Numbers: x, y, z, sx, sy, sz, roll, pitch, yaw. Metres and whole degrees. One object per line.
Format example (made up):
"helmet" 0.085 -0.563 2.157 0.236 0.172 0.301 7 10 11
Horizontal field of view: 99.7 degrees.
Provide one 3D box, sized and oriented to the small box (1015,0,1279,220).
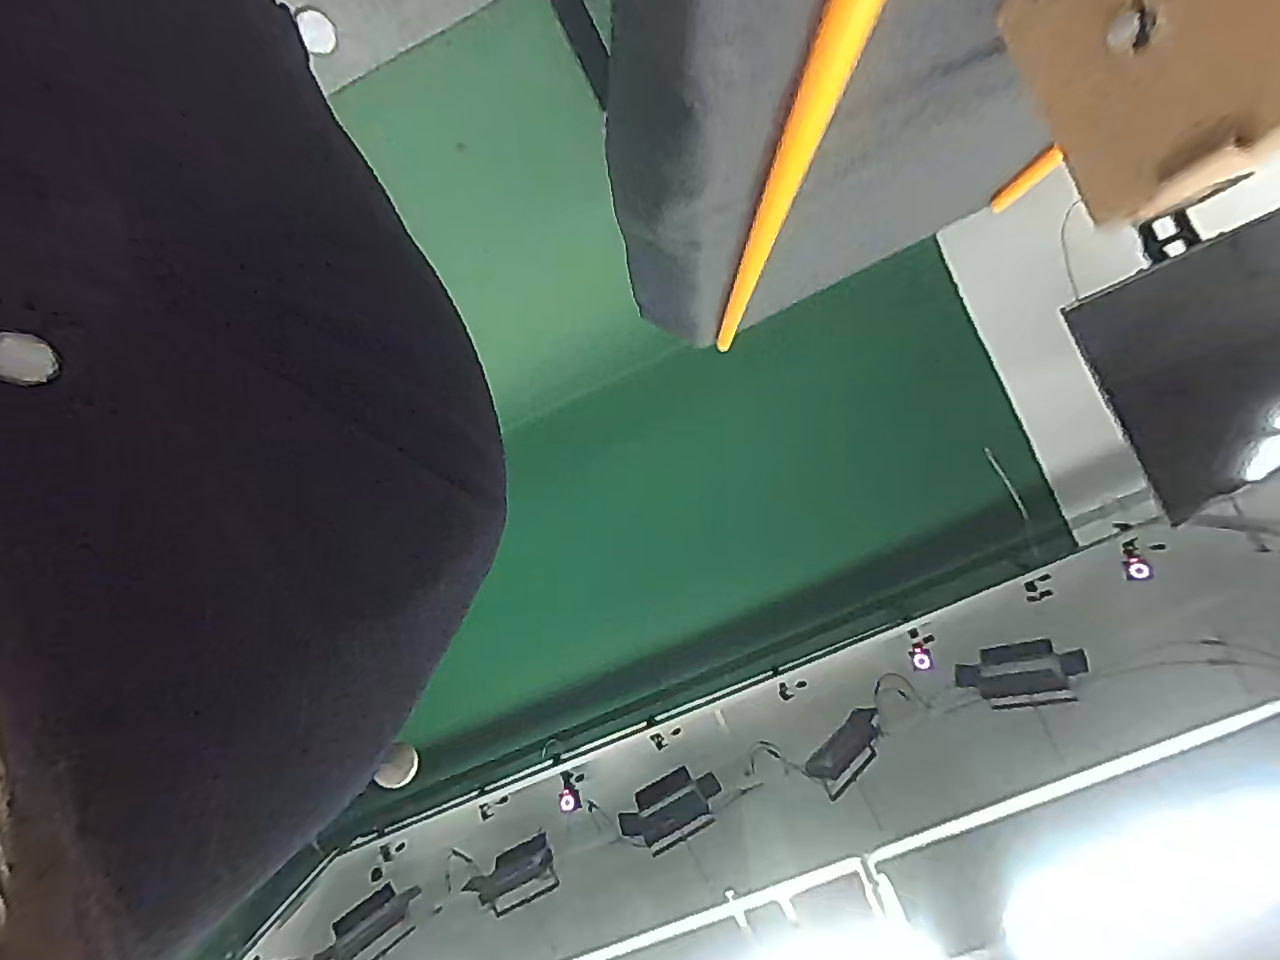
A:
"small box" 0.343 -0.282 0.274 0.179 0.176 0.168 -27 177 9
